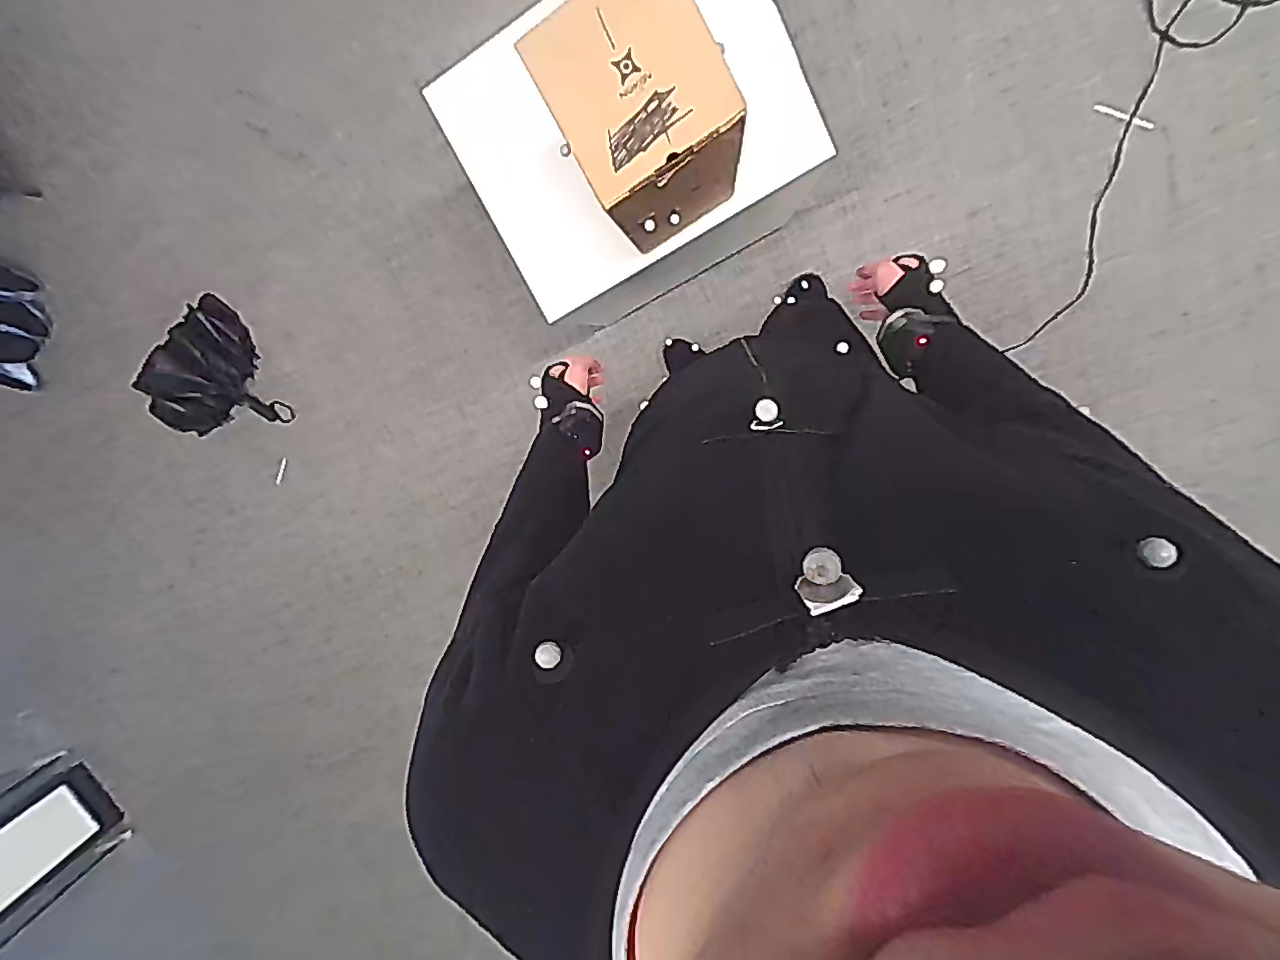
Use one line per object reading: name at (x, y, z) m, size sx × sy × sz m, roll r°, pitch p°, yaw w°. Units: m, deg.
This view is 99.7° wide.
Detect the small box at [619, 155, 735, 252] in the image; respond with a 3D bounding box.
small box at (0.016, -0.447, 0.751) m, size 0.168 × 0.176 × 0.179 m, roll -30°, pitch 98°, yaw 14°

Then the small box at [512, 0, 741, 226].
small box at (-0.003, -0.405, 0.593) m, size 0.168 × 0.176 × 0.179 m, roll -29°, pitch 98°, yaw 13°
